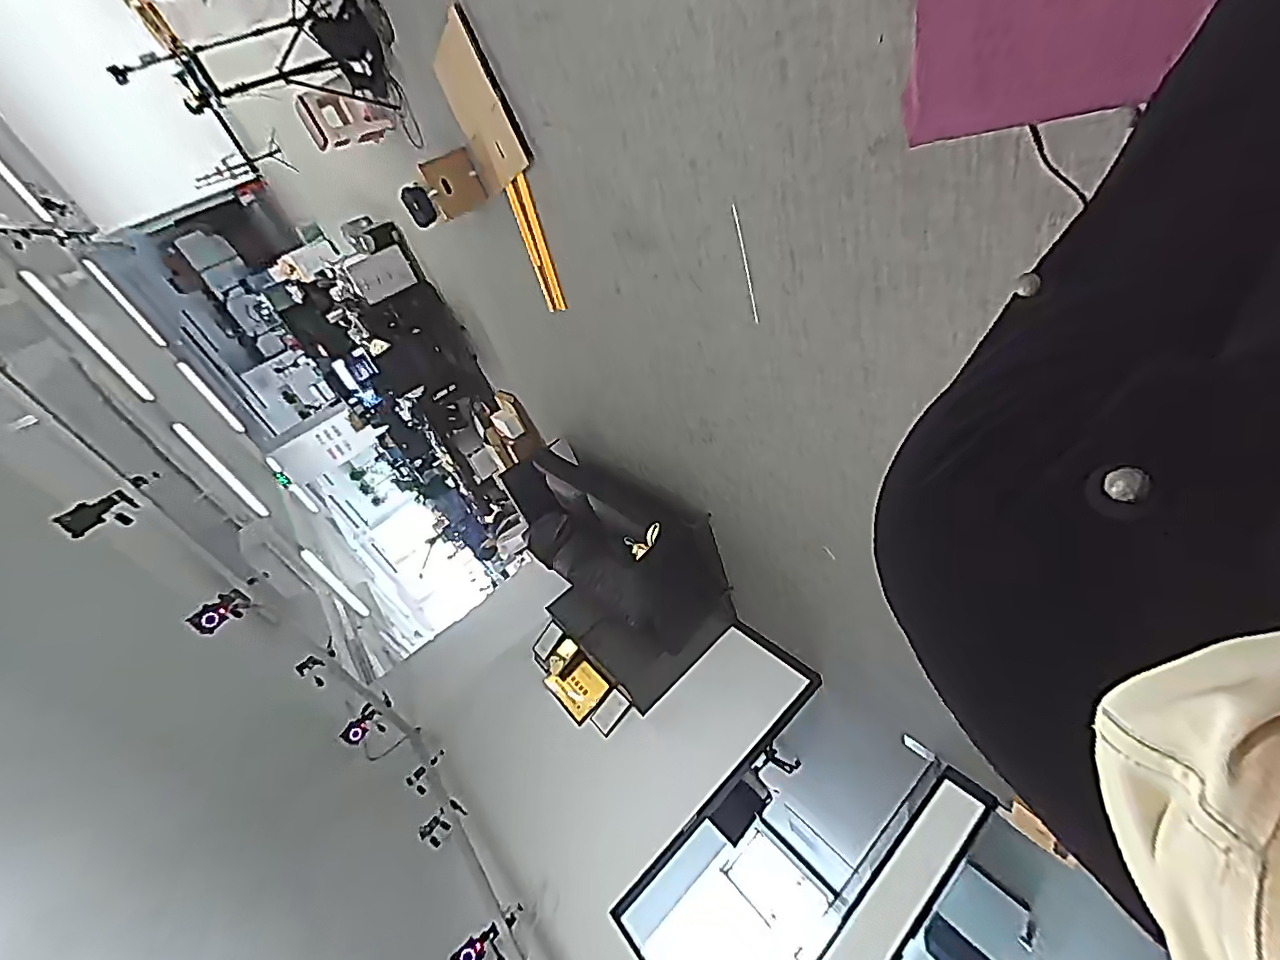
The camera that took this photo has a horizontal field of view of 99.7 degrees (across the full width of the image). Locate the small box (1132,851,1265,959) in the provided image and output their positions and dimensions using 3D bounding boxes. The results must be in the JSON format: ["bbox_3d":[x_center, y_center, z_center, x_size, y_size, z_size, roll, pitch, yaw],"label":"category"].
[{"bbox_3d":[1.367,1.065,1.327,0.168,0.176,0.179,29,149,42],"label":"small box"}]
